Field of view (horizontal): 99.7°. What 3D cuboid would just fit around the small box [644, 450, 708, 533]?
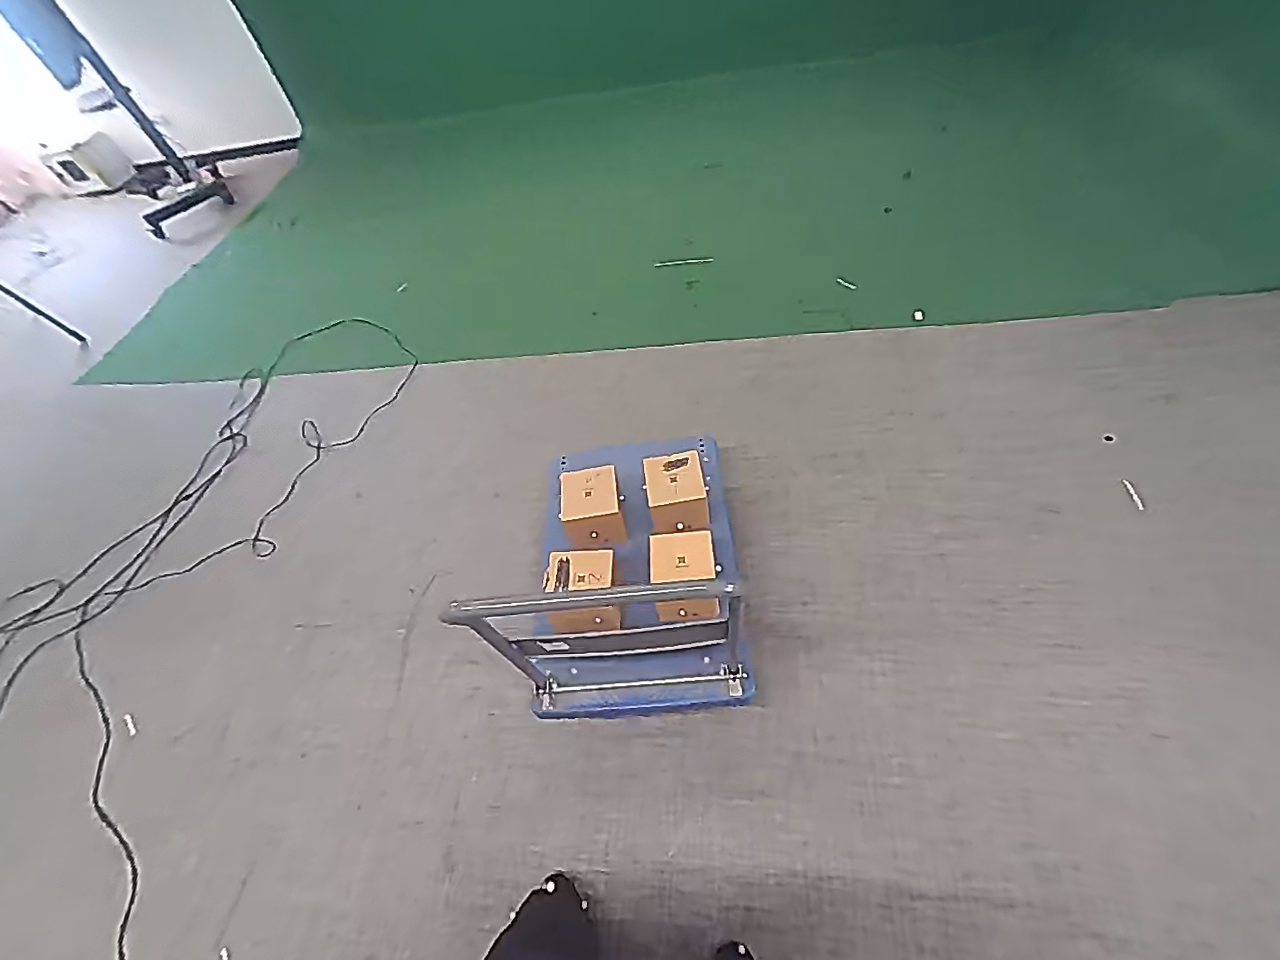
[{"bbox_3d":[0.107,0.037,1.616,0.168,0.176,0.179,-10,54,4],"label":"small box"}]

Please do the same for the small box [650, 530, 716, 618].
[{"bbox_3d":[0.116,0.256,1.457,0.168,0.176,0.179,-5,54,6],"label":"small box"}]

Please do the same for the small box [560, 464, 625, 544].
[{"bbox_3d":[-0.140,0.079,1.631,0.168,0.176,0.179,-9,53,3],"label":"small box"}]
